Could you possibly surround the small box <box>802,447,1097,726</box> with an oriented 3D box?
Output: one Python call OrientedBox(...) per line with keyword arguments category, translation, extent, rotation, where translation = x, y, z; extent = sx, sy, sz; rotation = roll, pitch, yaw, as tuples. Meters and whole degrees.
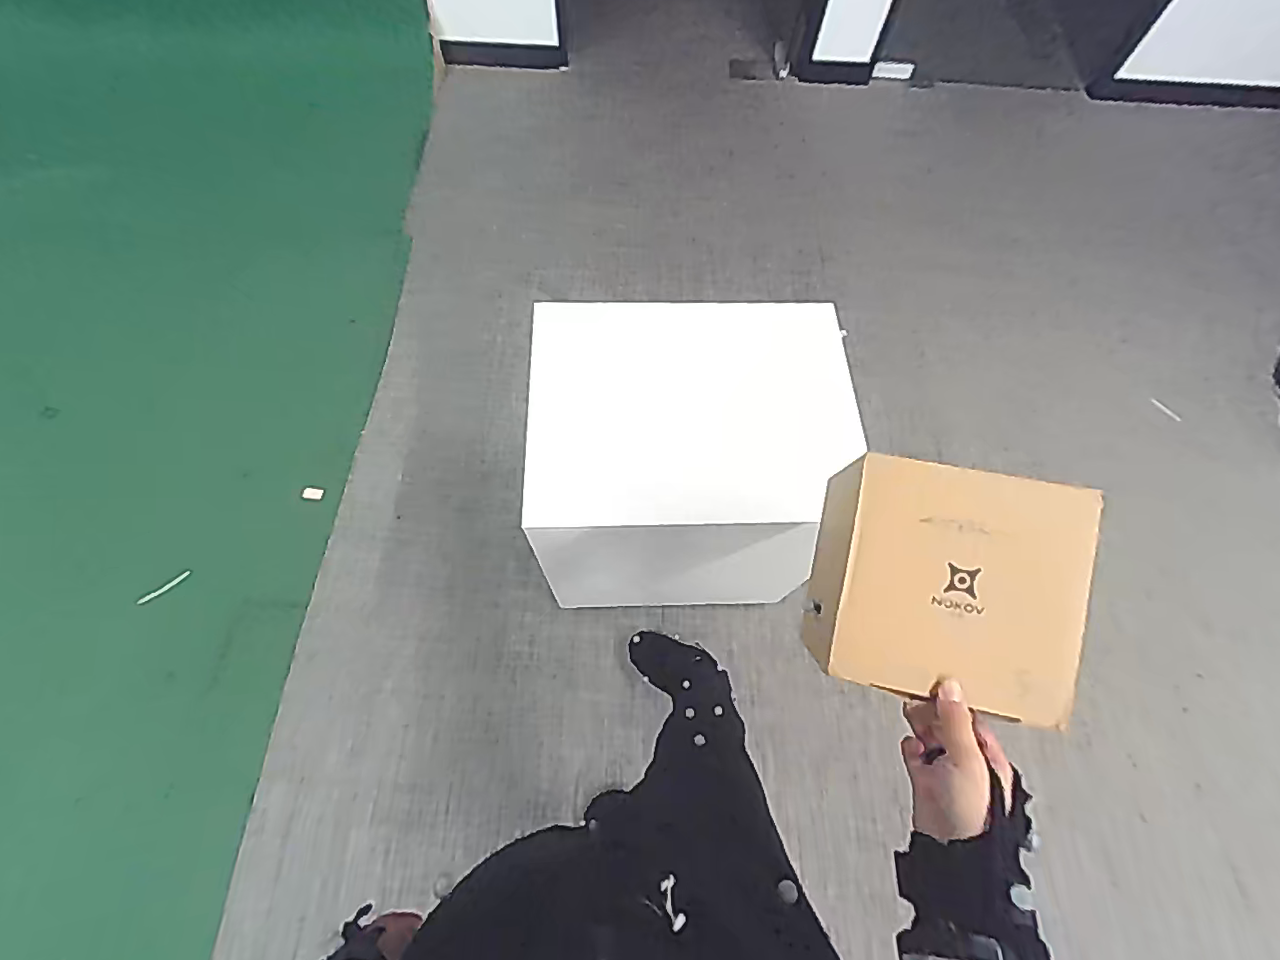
OrientedBox(category="small box", translation=(0.245, 0.082, 0.474), extent=(0.168, 0.176, 0.179), rotation=(10, 85, 9))
